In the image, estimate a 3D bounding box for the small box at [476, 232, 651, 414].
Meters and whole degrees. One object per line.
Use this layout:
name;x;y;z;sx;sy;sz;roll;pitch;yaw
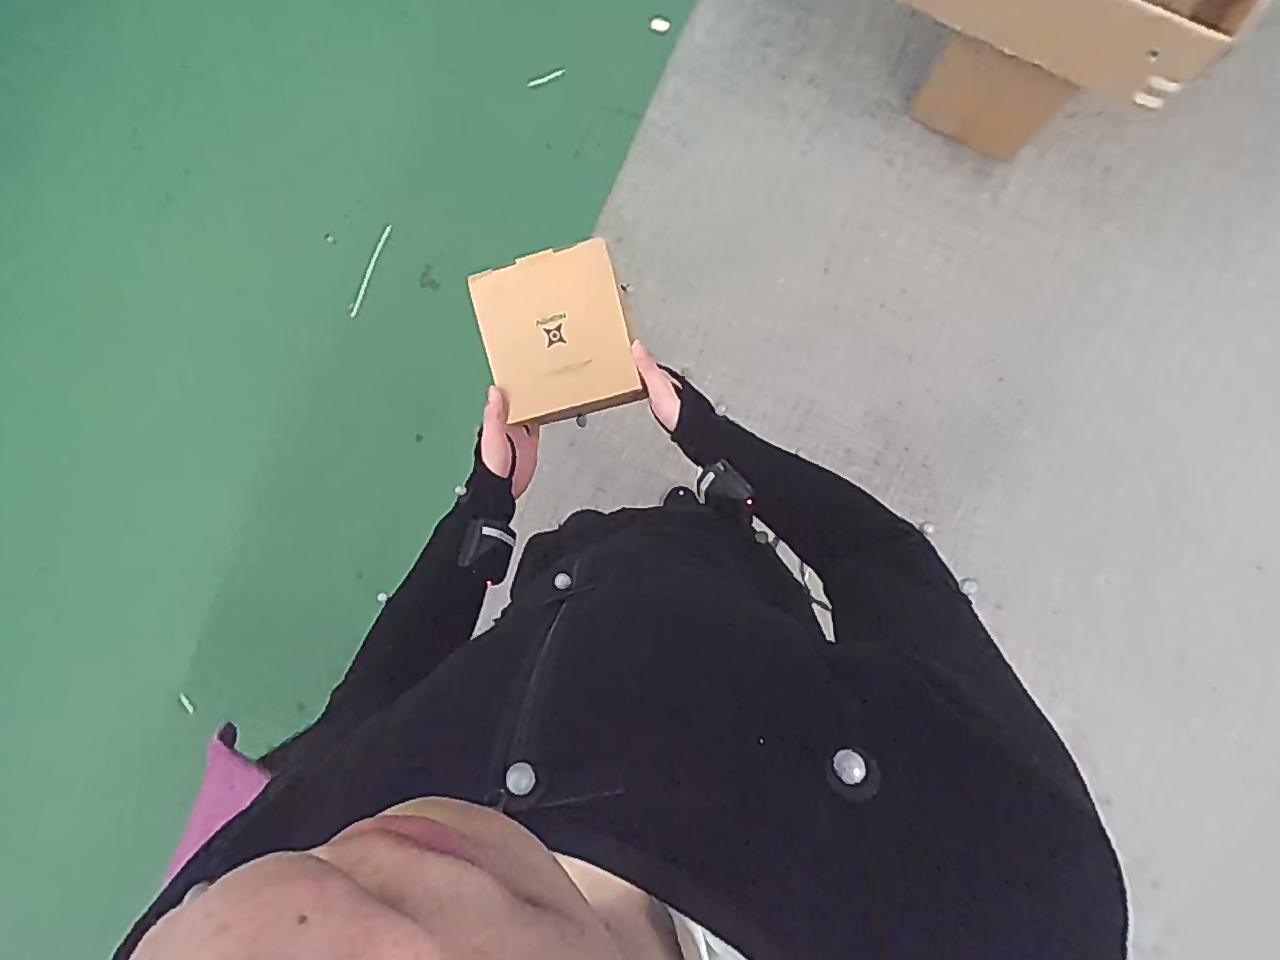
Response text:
small box;-0.086;-0.187;0.699;0.168;0.176;0.179;-12;95;8
